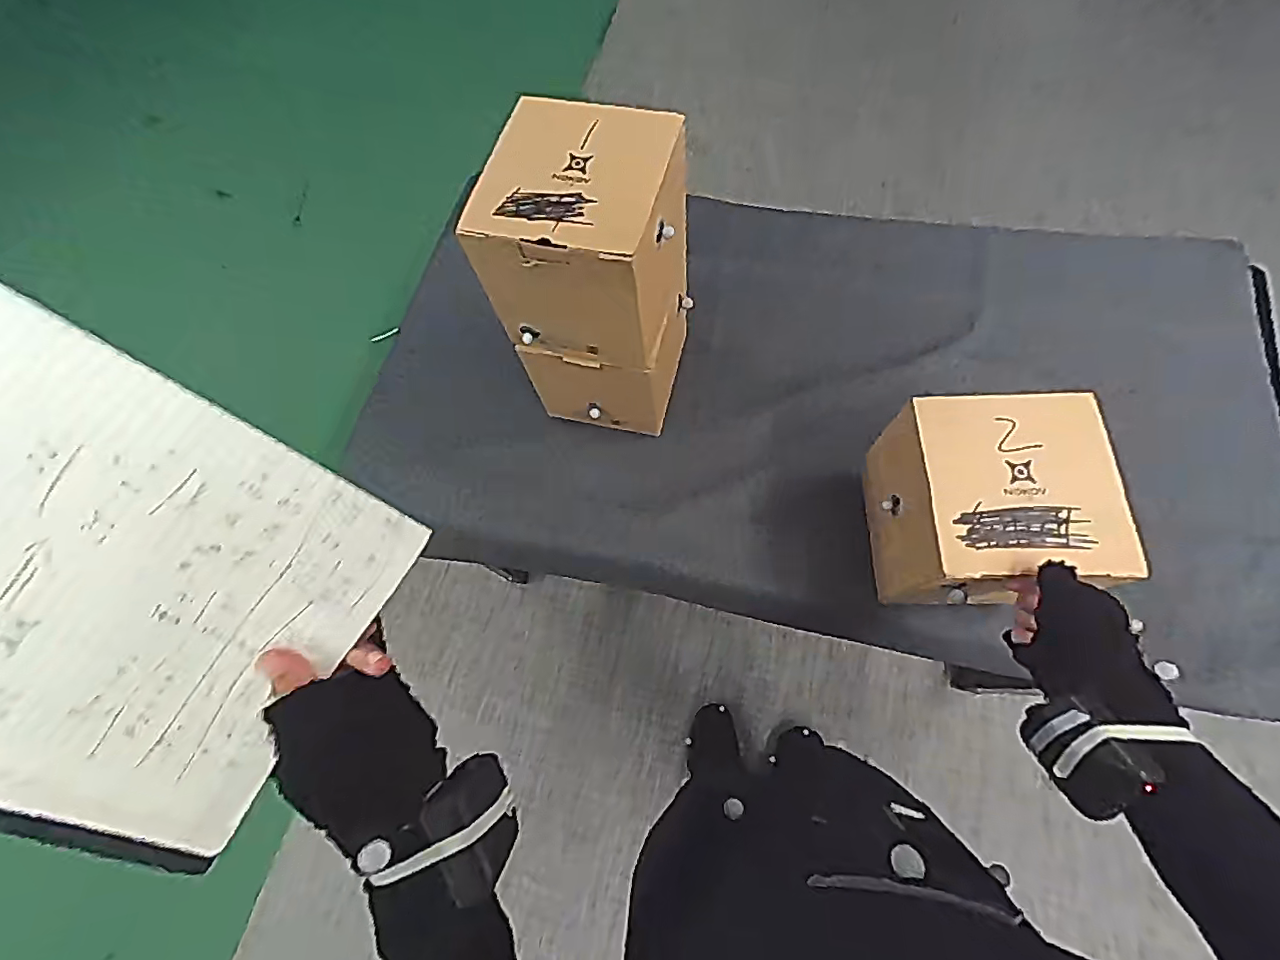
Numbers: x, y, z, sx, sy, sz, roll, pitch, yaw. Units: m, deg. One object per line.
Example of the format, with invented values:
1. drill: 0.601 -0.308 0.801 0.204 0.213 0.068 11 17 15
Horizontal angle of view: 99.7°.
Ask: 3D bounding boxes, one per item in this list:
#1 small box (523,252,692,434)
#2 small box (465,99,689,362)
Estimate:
1. small box: -0.032 -0.185 0.712 0.168 0.176 0.179 12 70 10
2. small box: -0.047 -0.248 0.561 0.168 0.176 0.179 13 70 10
